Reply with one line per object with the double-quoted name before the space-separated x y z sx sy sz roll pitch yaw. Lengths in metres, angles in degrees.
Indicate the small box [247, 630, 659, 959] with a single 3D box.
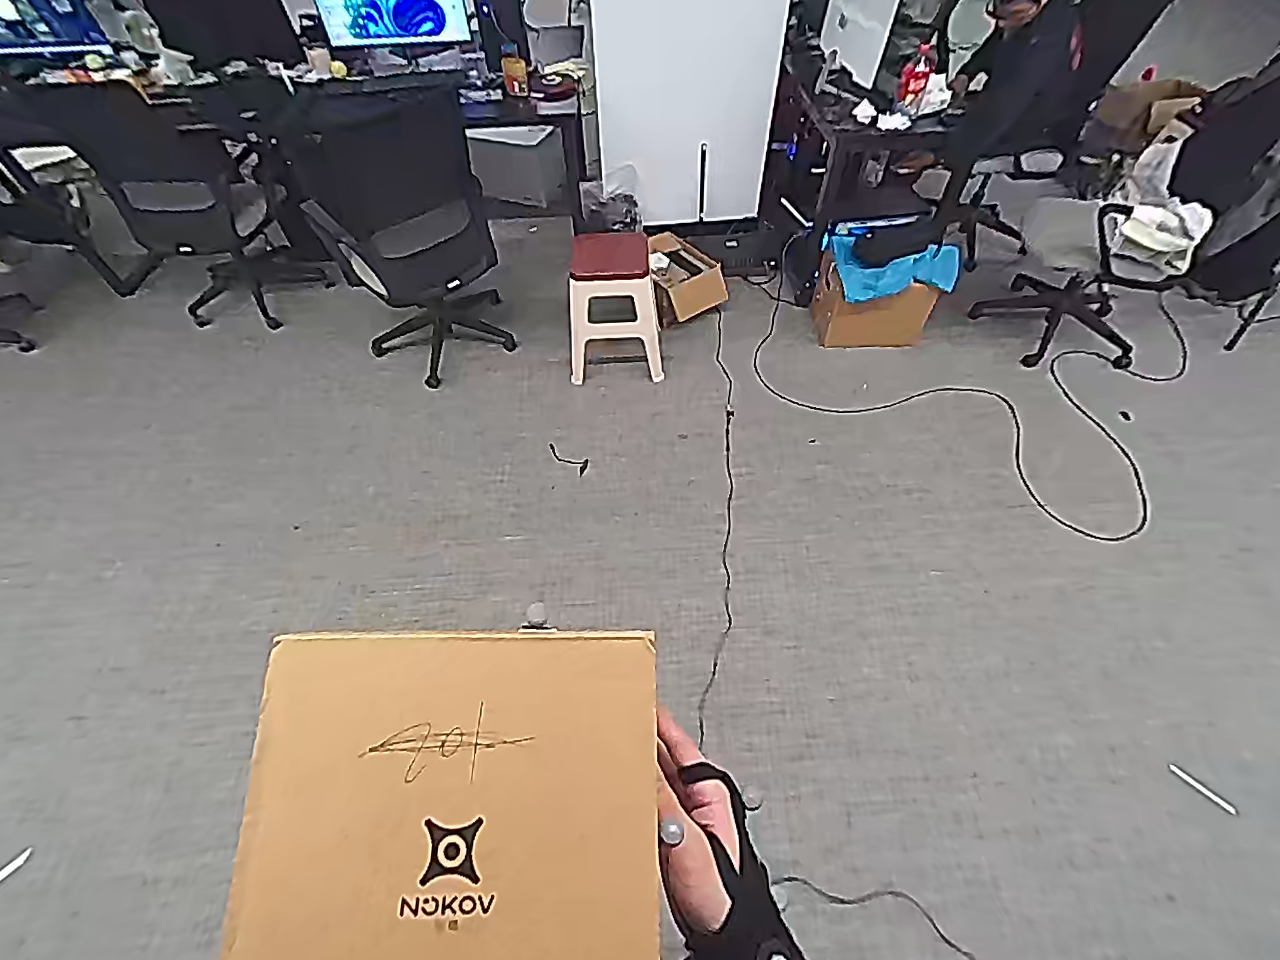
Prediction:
"small box" -0.077 0.177 0.303 0.168 0.176 0.179 0 75 -4
